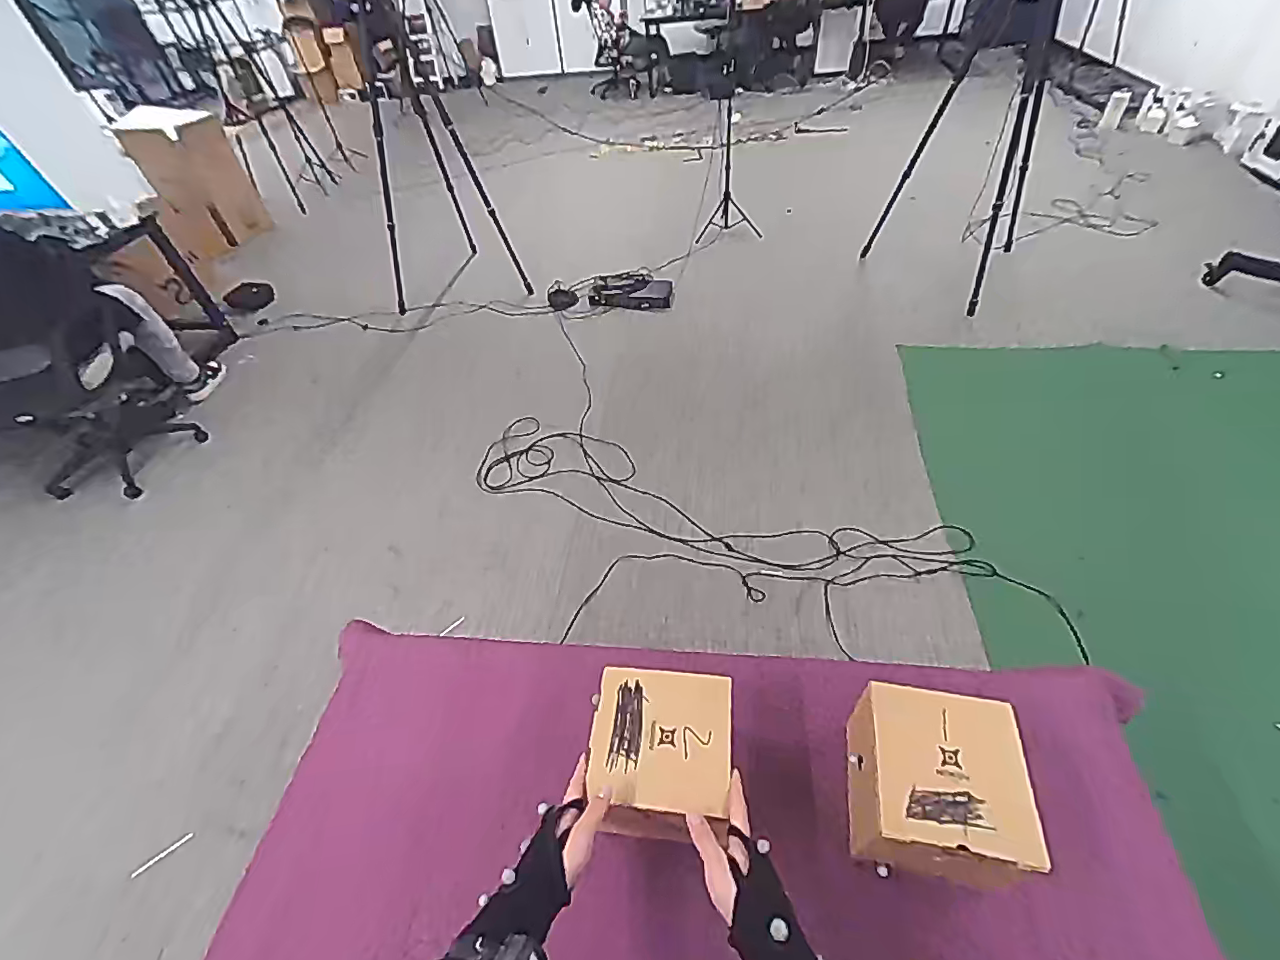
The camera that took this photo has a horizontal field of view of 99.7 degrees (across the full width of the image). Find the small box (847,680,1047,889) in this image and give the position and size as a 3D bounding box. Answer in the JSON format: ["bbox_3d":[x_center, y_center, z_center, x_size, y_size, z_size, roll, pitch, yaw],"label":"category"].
[{"bbox_3d":[0.361,0.381,0.676,0.168,0.176,0.179,6,47,12],"label":"small box"}]
